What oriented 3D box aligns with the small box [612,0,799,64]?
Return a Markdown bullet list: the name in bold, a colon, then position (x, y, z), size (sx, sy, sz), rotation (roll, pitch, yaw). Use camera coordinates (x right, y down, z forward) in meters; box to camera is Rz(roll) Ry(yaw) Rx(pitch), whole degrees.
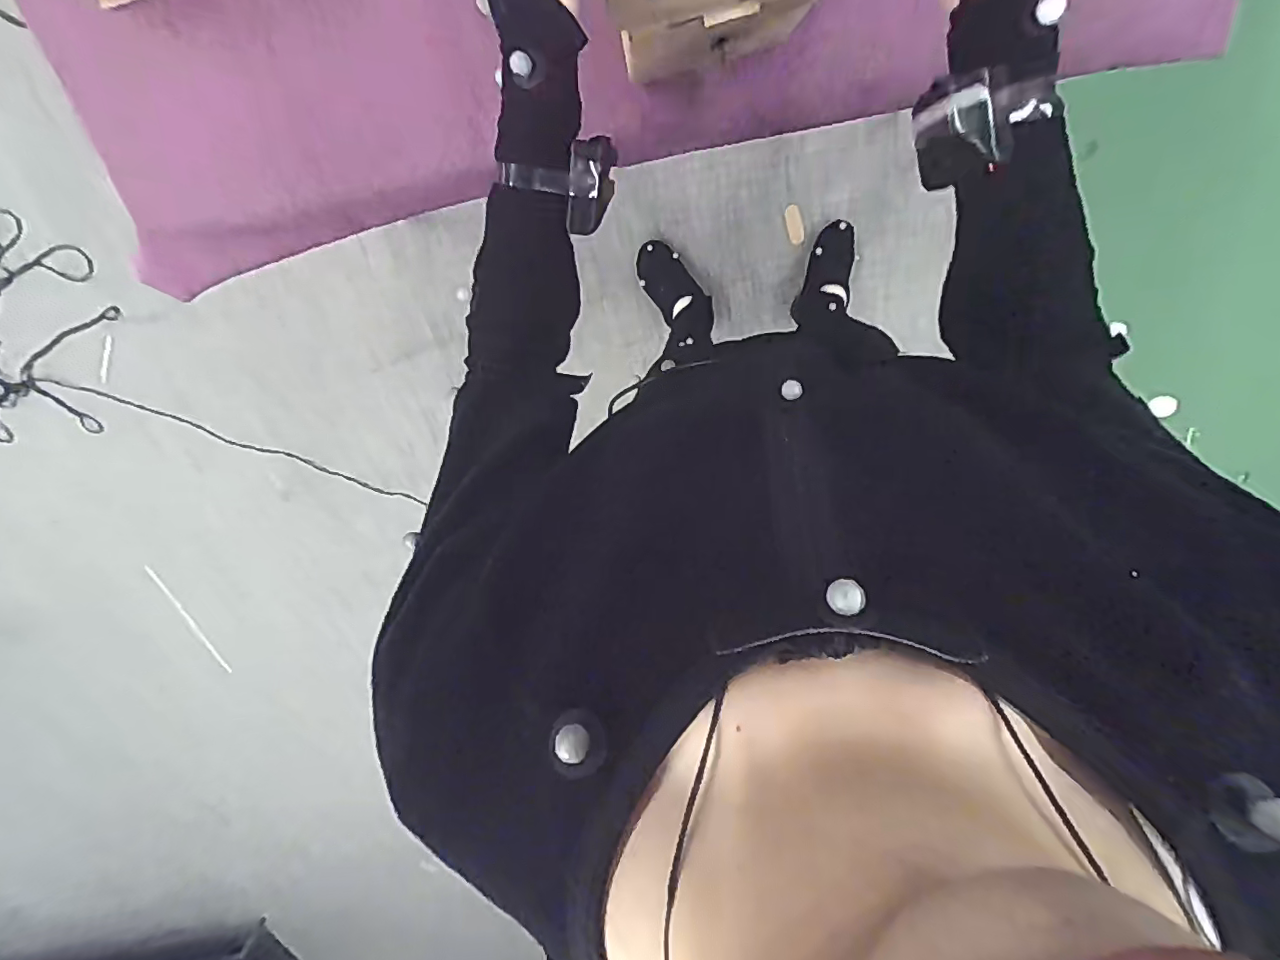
- **small box**: position (0.048, -0.479, 0.451), size (0.168, 0.176, 0.179), rotation (-12, 116, 6)
